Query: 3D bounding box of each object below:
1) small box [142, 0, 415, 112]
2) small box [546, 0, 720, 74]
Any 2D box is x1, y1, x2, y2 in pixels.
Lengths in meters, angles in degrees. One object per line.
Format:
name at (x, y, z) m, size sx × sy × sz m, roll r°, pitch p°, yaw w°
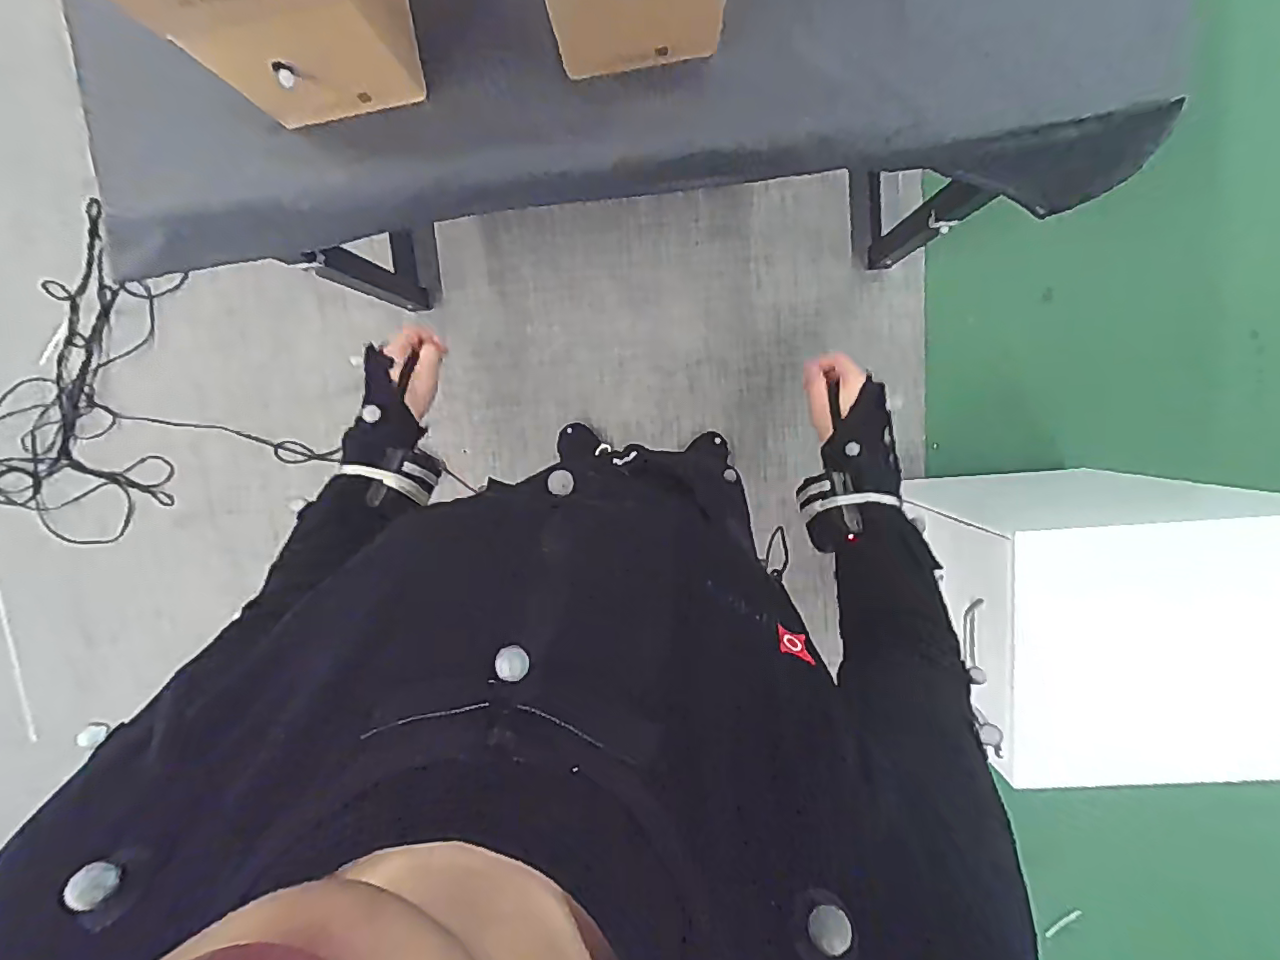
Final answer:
small box at (-0.336, -0.484, 0.510) m, size 0.168 × 0.176 × 0.179 m, roll -9°, pitch 96°, yaw 3°
small box at (-0.015, -0.526, 0.495) m, size 0.168 × 0.176 × 0.179 m, roll -8°, pitch 96°, yaw 3°
